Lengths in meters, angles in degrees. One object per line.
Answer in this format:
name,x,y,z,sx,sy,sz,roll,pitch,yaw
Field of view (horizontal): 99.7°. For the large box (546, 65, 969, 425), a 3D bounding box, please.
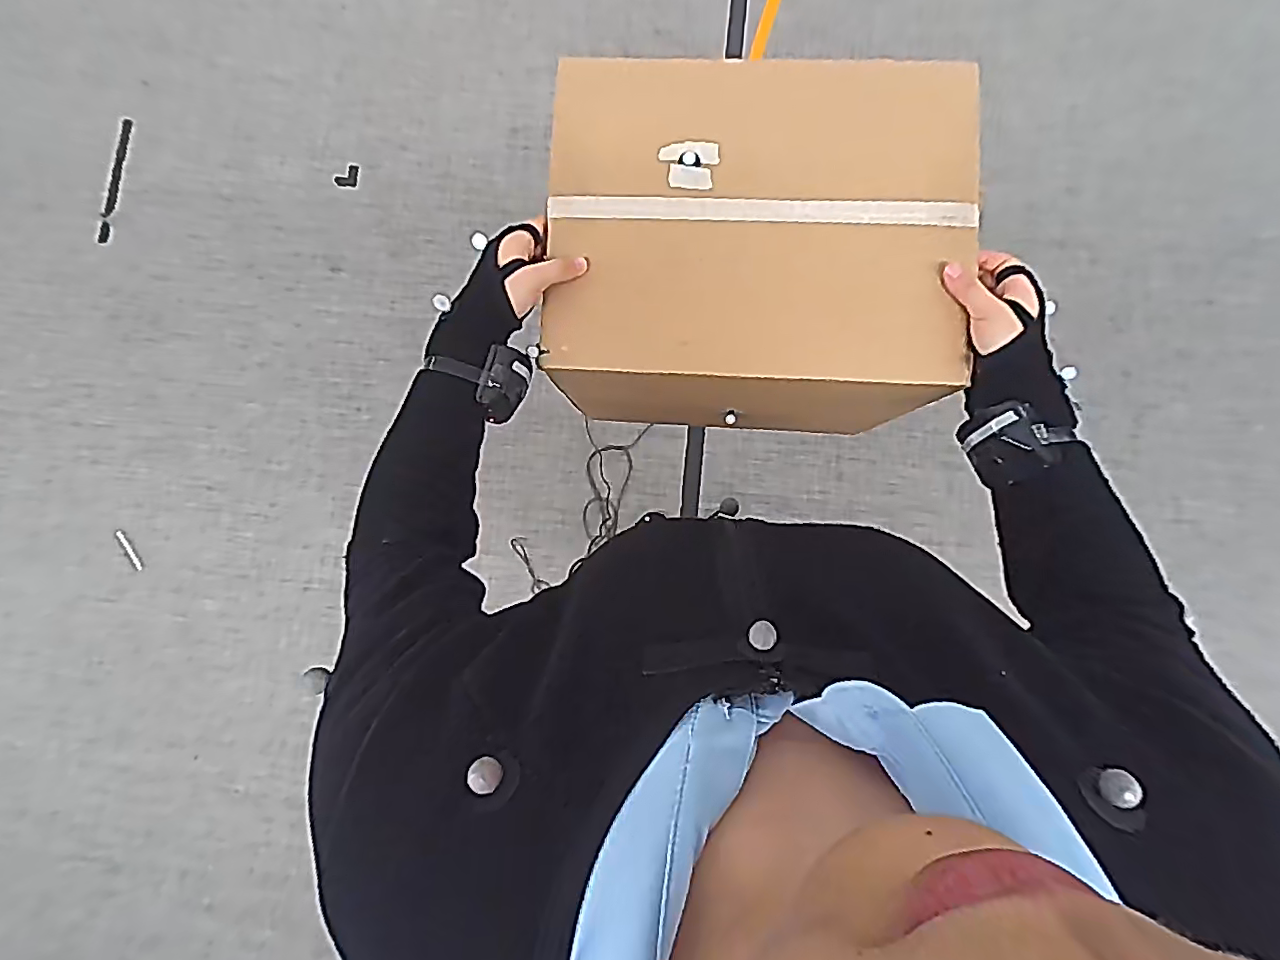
large box,0.124,-0.245,0.673,0.408,0.320,0.320,3,86,5
